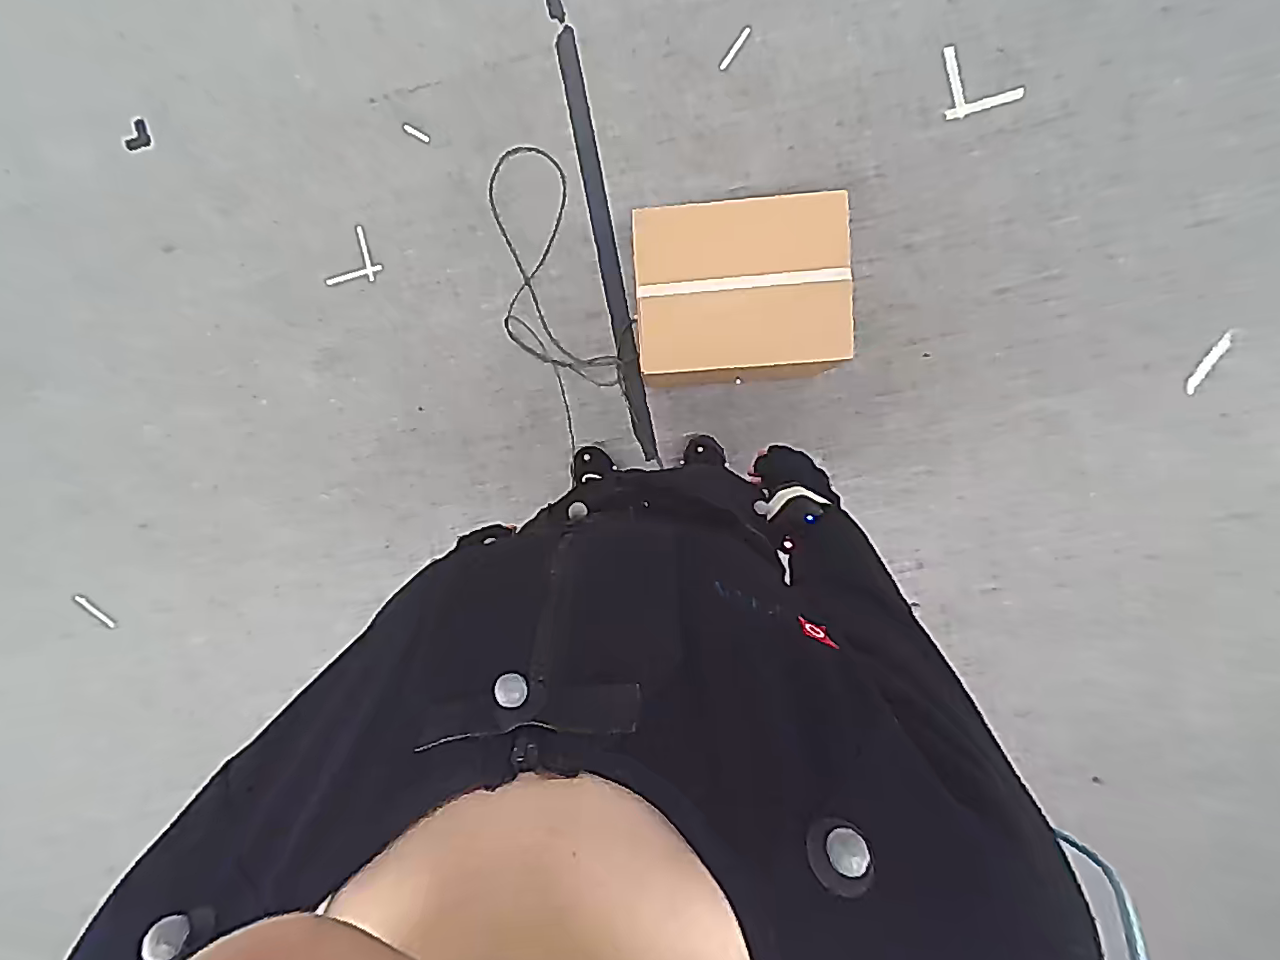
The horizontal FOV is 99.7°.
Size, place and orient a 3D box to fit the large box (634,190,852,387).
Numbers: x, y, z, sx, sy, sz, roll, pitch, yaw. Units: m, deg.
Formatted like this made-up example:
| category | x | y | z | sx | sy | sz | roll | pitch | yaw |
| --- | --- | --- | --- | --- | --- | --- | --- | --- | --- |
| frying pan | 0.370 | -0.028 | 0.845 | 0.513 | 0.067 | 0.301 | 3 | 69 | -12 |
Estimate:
| category | x | y | z | sx | sy | sz | roll | pitch | yaw |
| --- | --- | --- | --- | --- | --- | --- | --- | --- | --- |
| large box | 0.204 | -0.386 | 1.181 | 0.408 | 0.320 | 0.320 | -4 | 95 | 4 |
